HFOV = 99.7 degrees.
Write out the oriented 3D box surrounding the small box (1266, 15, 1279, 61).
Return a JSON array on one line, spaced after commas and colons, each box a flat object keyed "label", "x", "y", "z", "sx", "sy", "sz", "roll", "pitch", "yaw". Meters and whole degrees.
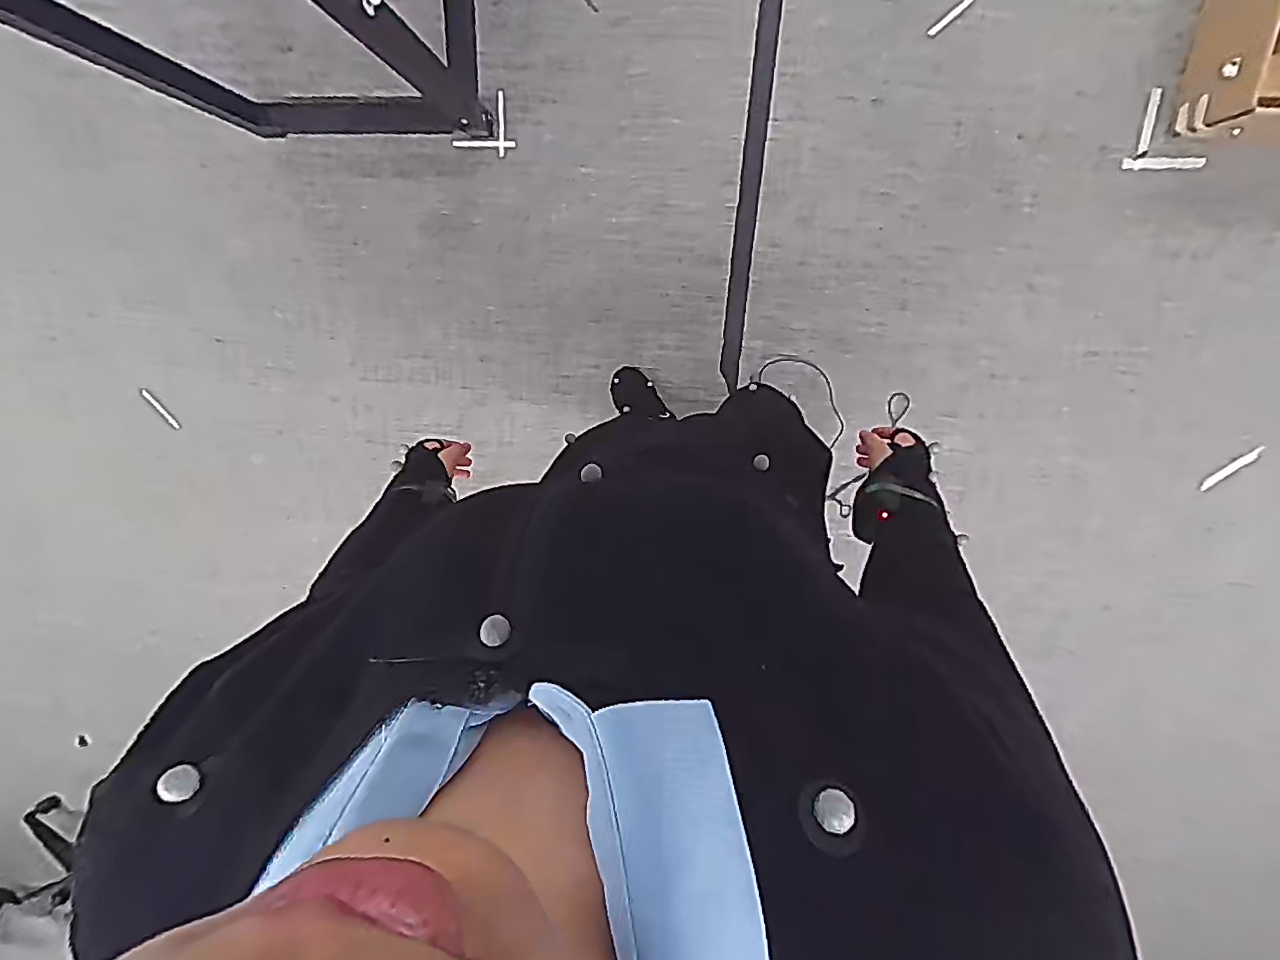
[{"label": "small box", "x": 1.381, "y": -0.915, "z": 1.019, "sx": 0.179, "sy": 0.176, "sz": 0.168, "roll": 8, "pitch": 105, "yaw": 3}]
